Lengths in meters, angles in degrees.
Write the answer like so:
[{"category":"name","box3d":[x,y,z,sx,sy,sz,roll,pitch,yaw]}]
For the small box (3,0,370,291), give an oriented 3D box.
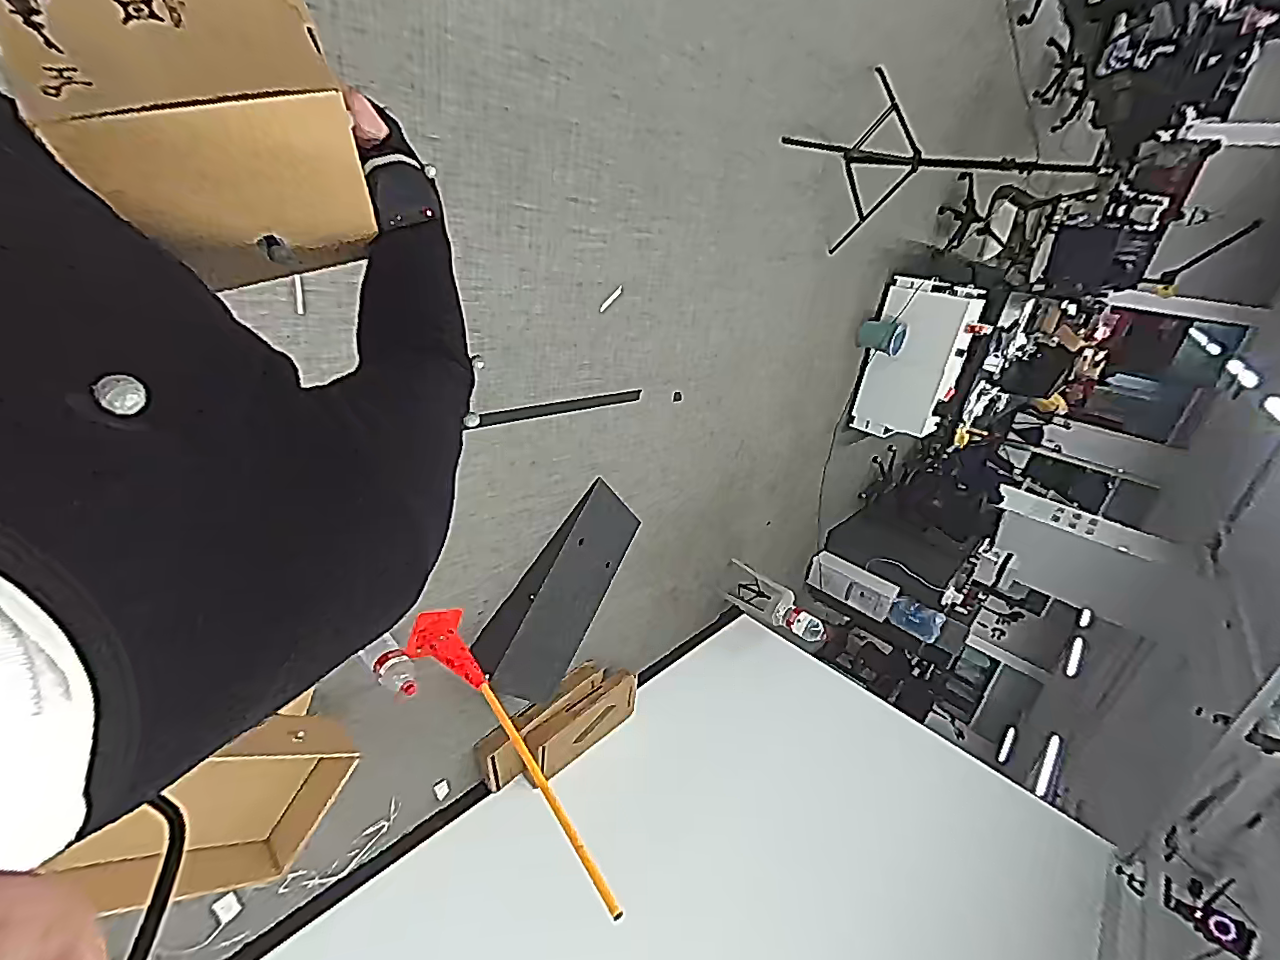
[{"category":"small box","box3d":[-0.346,-0.289,0.449,0.179,0.168,0.176,-24,168,-21]}]
